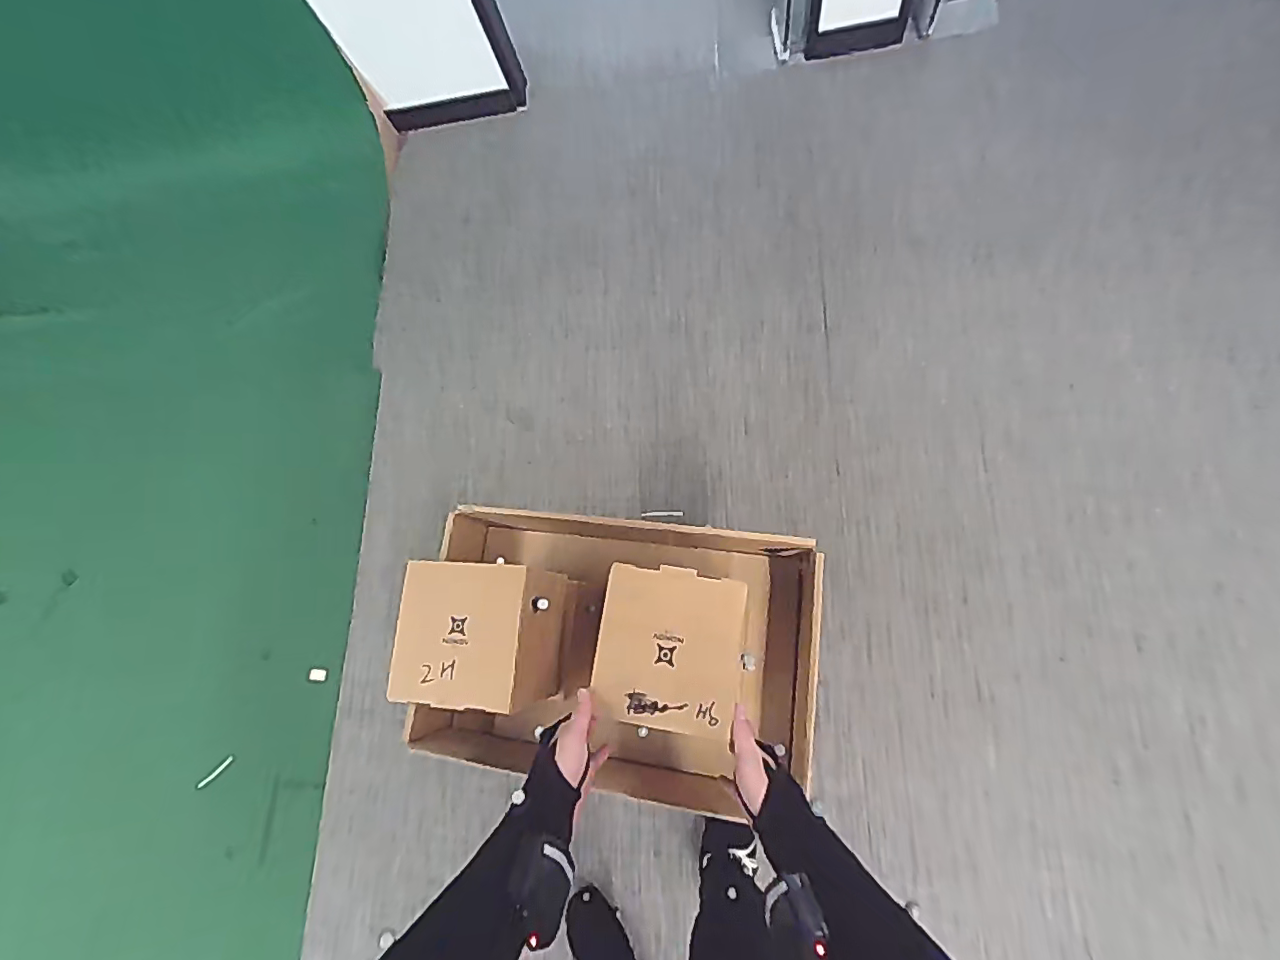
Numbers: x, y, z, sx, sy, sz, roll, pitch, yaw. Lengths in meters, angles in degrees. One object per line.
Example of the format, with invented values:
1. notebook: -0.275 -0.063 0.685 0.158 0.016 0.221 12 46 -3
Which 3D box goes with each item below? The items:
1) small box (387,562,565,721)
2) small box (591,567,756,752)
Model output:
1. small box: -0.208 0.211 0.737 0.168 0.176 0.179 2 77 11
2. small box: 0.050 0.221 0.686 0.168 0.176 0.179 7 74 12
